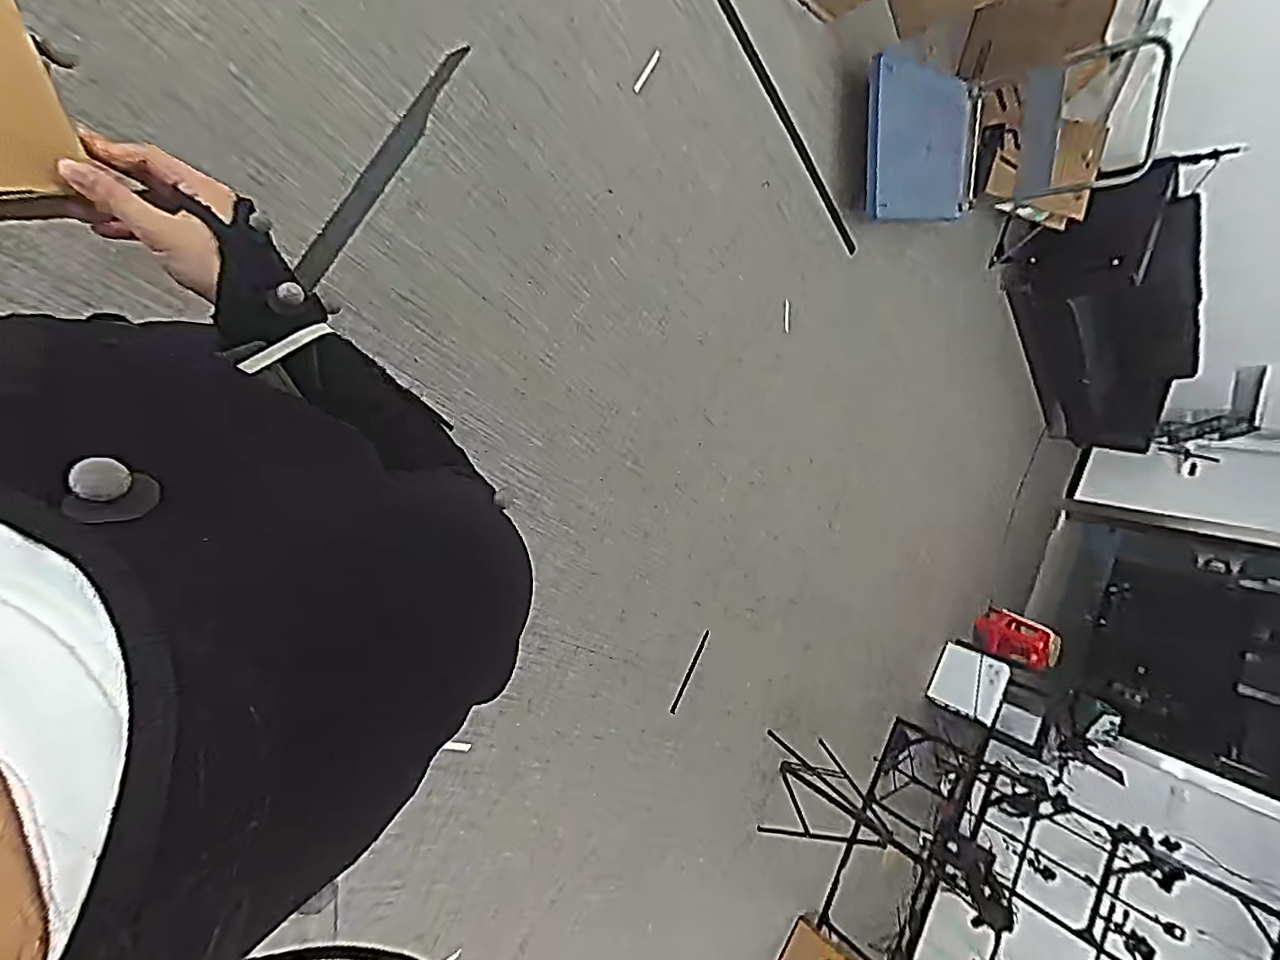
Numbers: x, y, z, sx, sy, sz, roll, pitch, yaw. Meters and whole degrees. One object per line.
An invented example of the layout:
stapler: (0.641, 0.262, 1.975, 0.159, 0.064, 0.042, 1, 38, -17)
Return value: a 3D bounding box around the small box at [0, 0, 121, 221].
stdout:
small box: (-0.438, -0.244, 0.299, 0.168, 0.176, 0.179, -26, 123, -36)
